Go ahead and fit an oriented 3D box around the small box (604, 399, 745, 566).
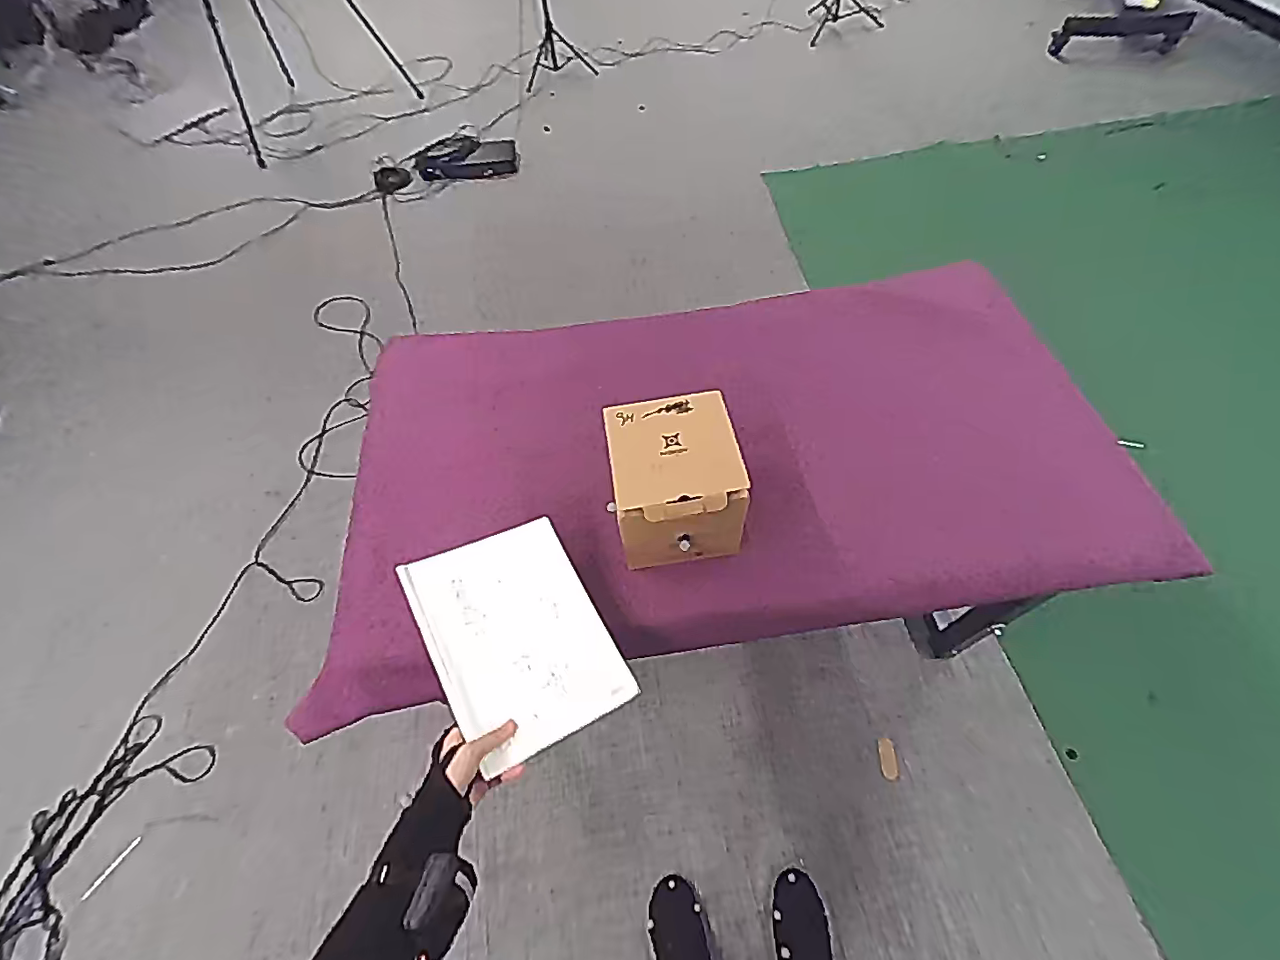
[{"bbox_3d":[0.046,0.013,0.773,0.168,0.176,0.179,-8,58,-1],"label":"small box"}]
